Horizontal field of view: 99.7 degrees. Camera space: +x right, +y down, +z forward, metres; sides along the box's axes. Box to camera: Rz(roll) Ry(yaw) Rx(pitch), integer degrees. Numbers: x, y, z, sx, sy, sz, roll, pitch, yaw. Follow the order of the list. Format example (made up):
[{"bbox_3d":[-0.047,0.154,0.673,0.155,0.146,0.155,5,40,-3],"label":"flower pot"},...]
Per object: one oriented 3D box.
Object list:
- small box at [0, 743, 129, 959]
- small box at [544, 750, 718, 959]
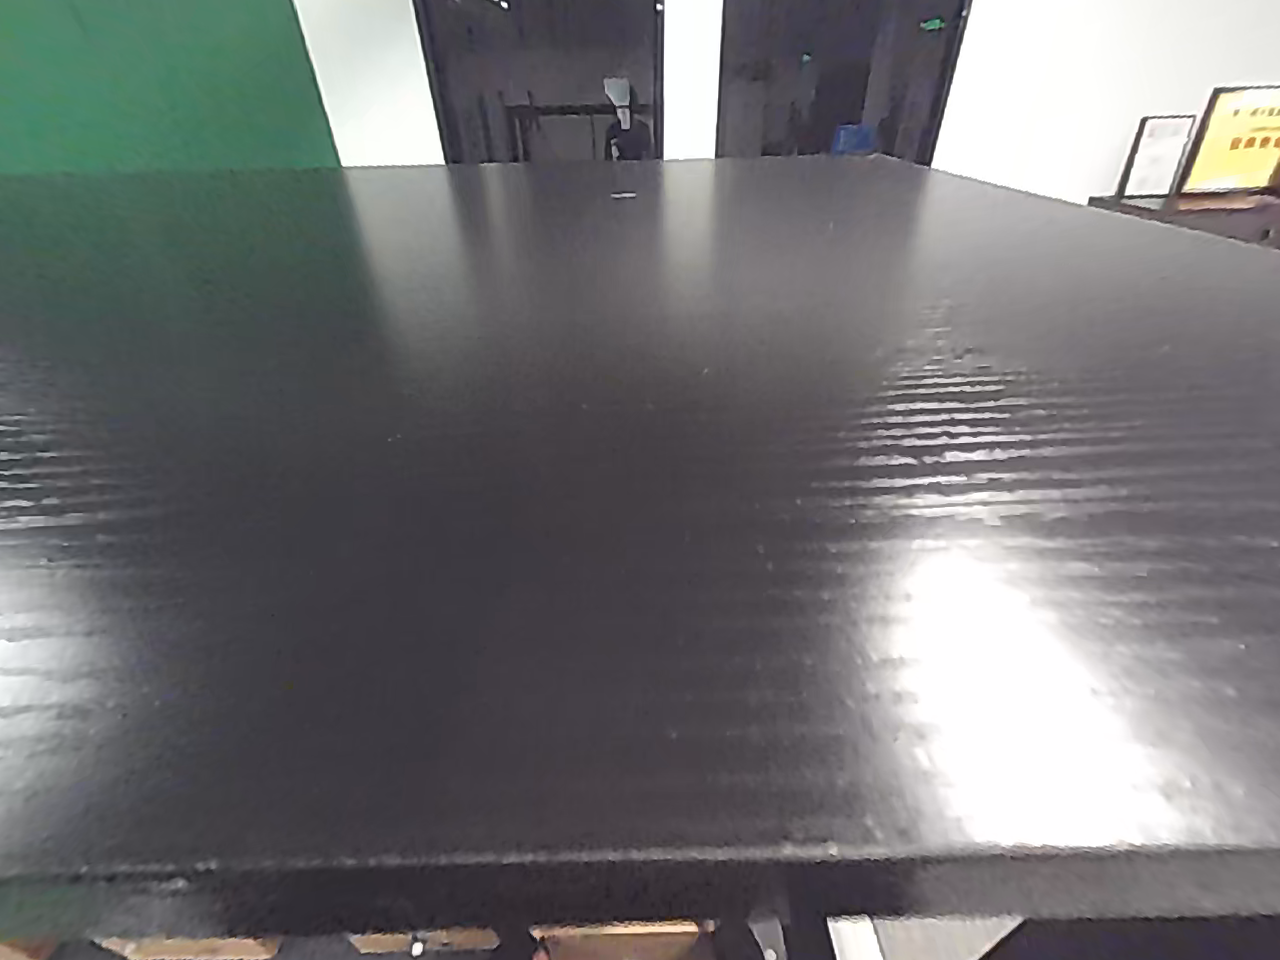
[{"bbox_3d":[-0.750,0.437,0.633,0.168,0.176,0.179,-1,35,1],"label":"small box"},{"bbox_3d":[-0.006,0.436,0.608,0.168,0.176,0.179,-2,31,0],"label":"small box"}]
